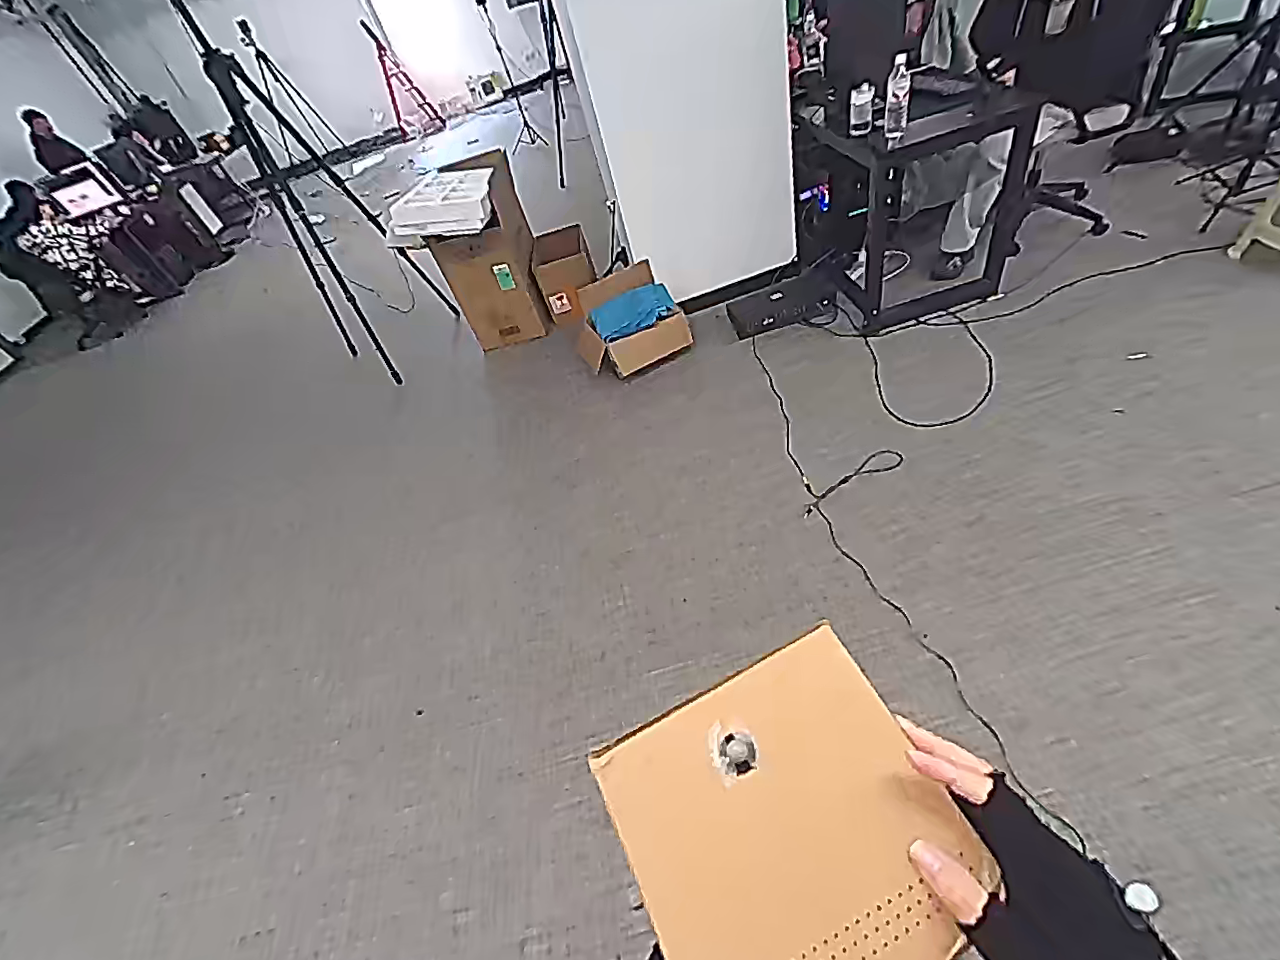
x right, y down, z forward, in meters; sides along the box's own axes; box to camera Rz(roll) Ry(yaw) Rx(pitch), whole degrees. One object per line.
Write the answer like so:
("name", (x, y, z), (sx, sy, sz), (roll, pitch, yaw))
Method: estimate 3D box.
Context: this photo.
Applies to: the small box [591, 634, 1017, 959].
("small box", (0.093, 0.238, 0.363), (0.179, 0.168, 0.176), (-26, 58, -6))
